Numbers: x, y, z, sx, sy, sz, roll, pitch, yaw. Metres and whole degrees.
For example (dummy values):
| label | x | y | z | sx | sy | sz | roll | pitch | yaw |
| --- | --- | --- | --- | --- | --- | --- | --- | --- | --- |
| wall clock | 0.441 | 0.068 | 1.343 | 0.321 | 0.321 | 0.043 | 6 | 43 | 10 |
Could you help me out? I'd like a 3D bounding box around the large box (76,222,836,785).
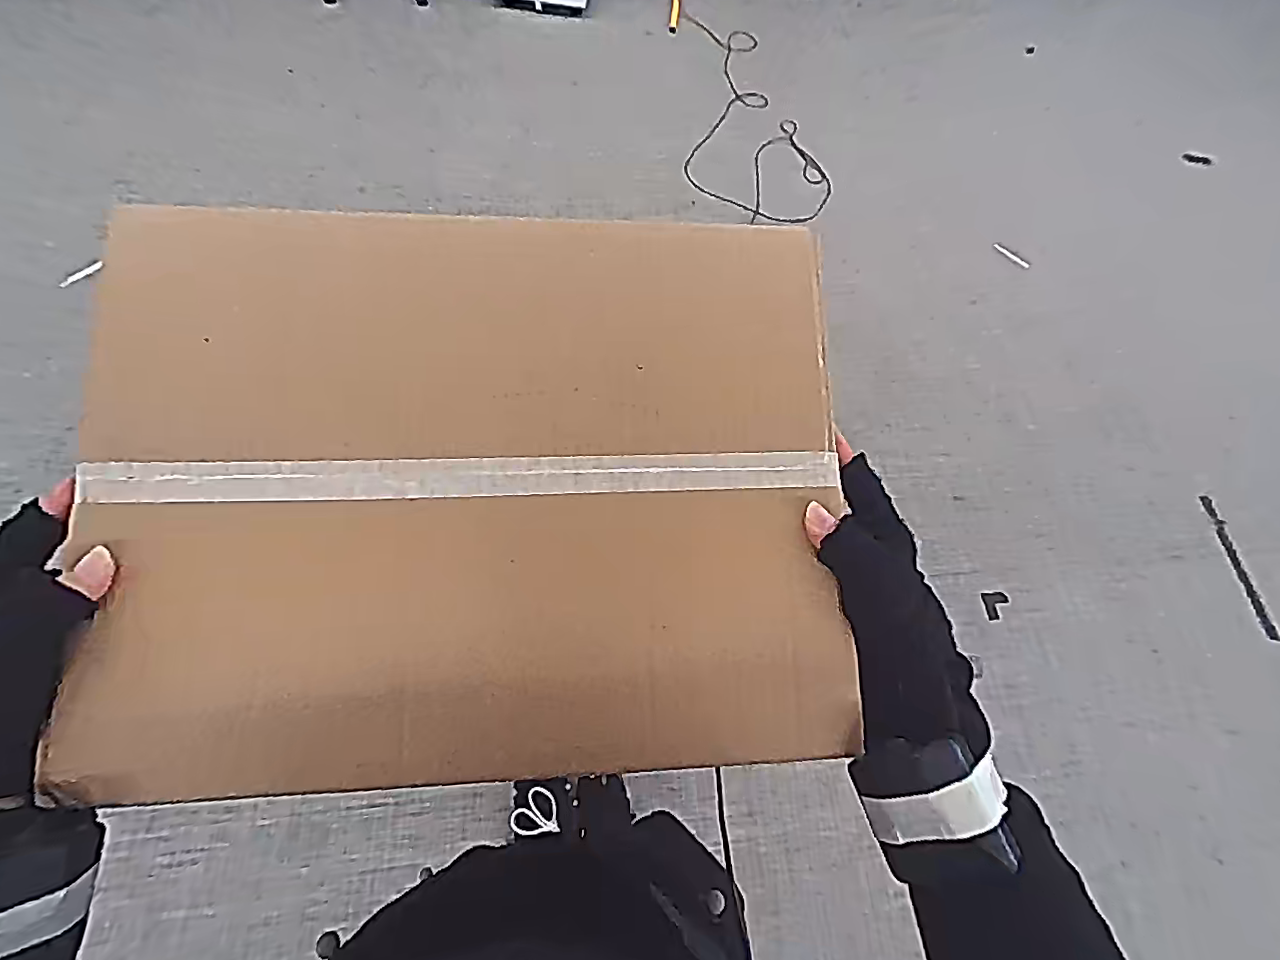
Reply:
| label | x | y | z | sx | sy | sz | roll | pitch | yaw |
| --- | --- | --- | --- | --- | --- | --- | --- | --- | --- |
| large box | -0.102 | 0.018 | 0.456 | 0.408 | 0.320 | 0.320 | -1 | 80 | -6 |
